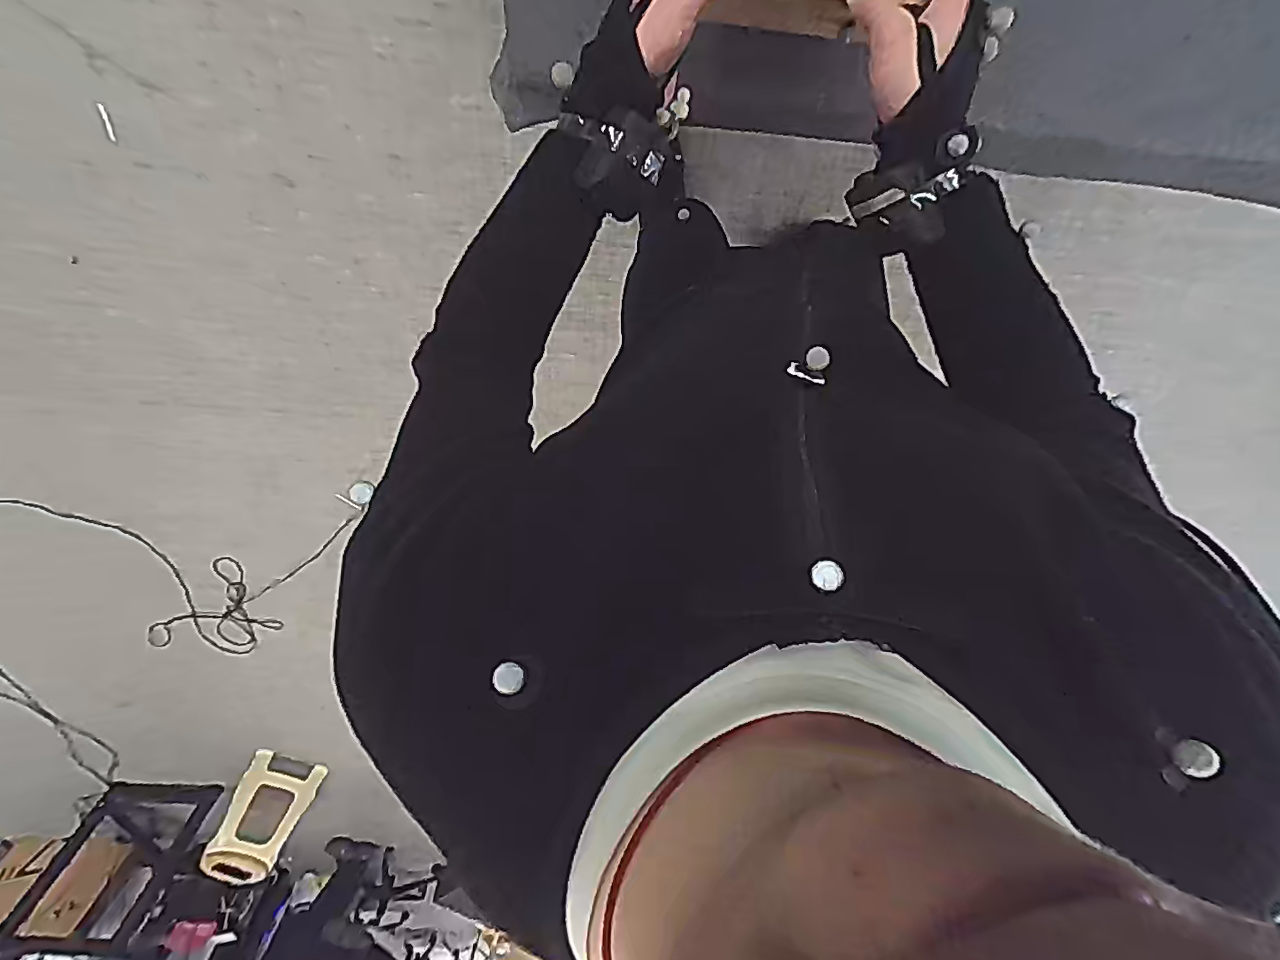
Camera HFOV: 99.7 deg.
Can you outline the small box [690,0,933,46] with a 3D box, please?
[{"bbox_3d":[0.135,-0.442,0.395,0.179,0.176,0.168,12,121,3],"label":"small box"}]
